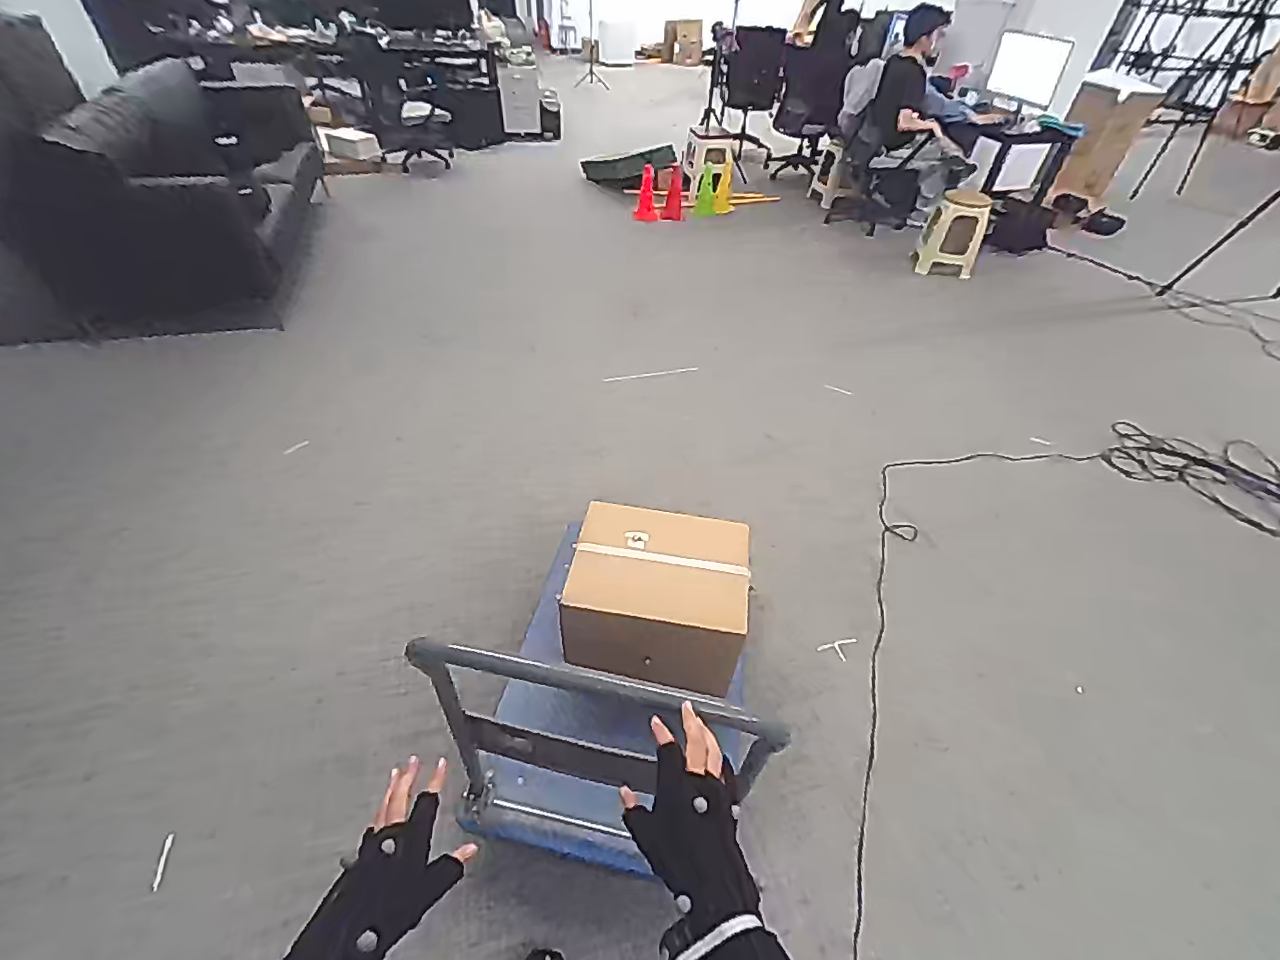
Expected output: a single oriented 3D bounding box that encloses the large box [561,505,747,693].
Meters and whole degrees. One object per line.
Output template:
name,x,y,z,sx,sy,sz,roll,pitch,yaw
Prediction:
large box,0.045,0.297,1.352,0.408,0.320,0.320,8,43,6
